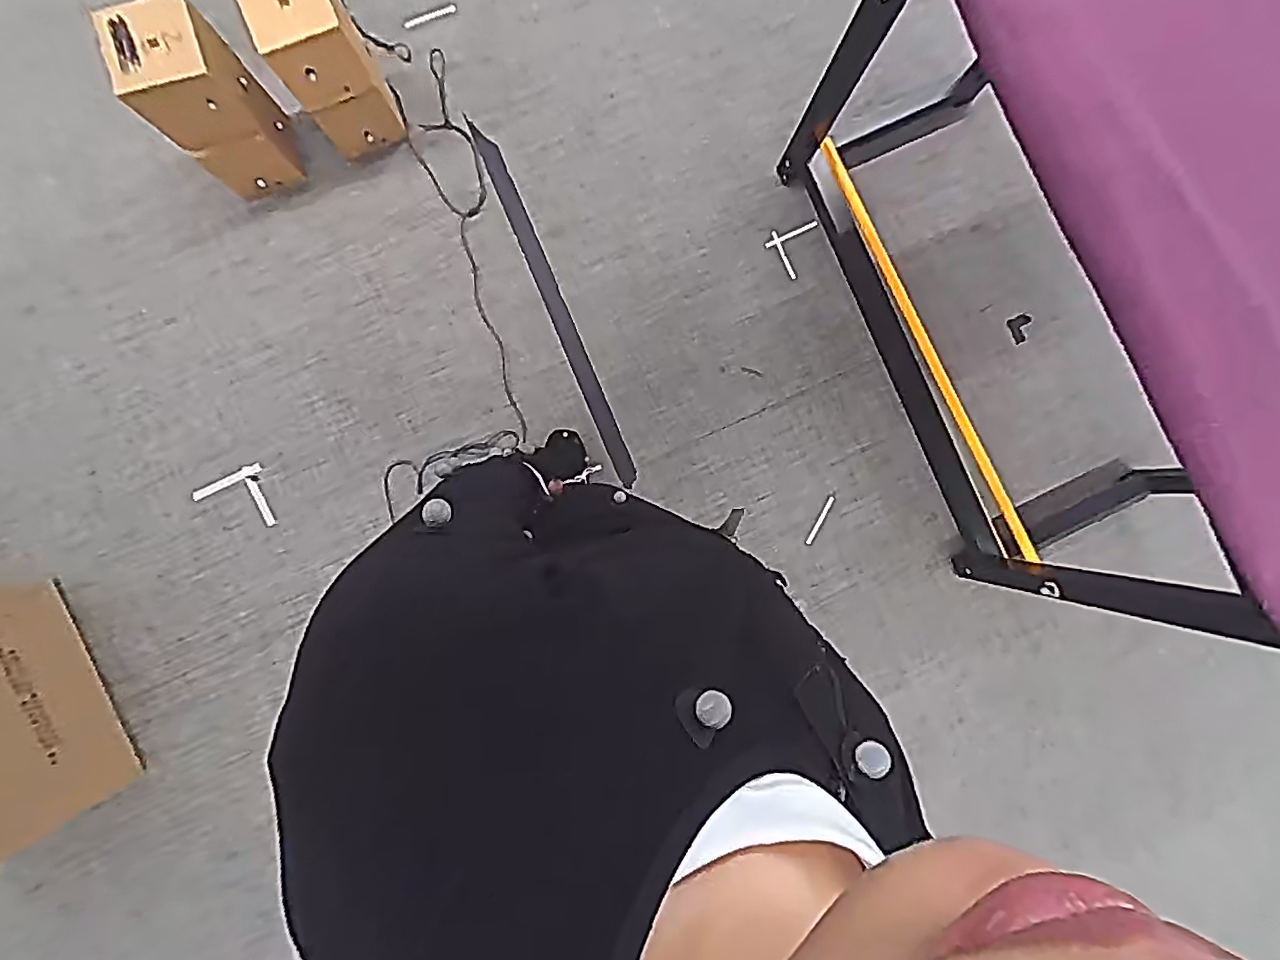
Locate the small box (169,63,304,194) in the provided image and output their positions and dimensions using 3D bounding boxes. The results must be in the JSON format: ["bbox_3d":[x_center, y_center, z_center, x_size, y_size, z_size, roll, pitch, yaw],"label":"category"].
[{"bbox_3d":[-0.923,-0.805,1.254,0.168,0.176,0.179,-17,91,-3],"label":"small box"}]

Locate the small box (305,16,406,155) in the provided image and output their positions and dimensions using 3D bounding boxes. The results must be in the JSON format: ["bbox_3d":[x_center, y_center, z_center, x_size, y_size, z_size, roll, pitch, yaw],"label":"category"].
[{"bbox_3d":[-0.682,-0.915,1.268,0.168,0.176,0.179,-22,90,-1],"label":"small box"}]

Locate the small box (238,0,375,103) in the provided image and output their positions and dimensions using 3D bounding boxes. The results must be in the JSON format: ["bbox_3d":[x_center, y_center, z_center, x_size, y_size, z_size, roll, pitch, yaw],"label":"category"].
[{"bbox_3d":[-0.679,-0.917,1.105,0.168,0.176,0.179,-23,89,-2],"label":"small box"}]
